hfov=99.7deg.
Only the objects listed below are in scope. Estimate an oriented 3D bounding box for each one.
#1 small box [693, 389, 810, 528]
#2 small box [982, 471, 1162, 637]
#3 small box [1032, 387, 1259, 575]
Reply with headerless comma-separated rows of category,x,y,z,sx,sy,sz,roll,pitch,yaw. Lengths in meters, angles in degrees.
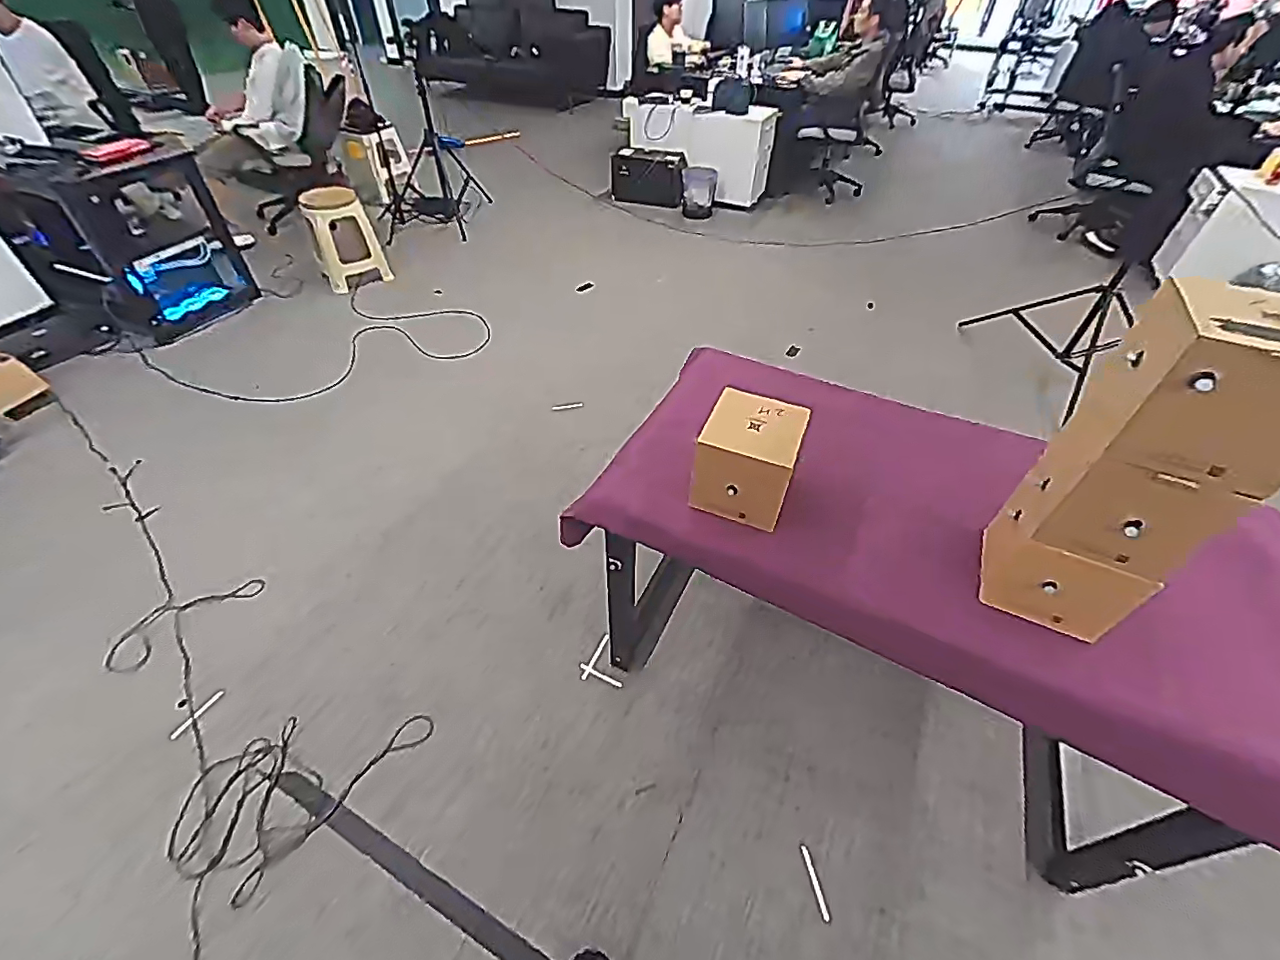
small box,0.204,-0.038,1.011,0.168,0.176,0.179,18,47,15
small box,0.678,0.121,0.872,0.168,0.176,0.179,20,48,18
small box,0.683,0.002,0.759,0.168,0.176,0.179,21,48,19
